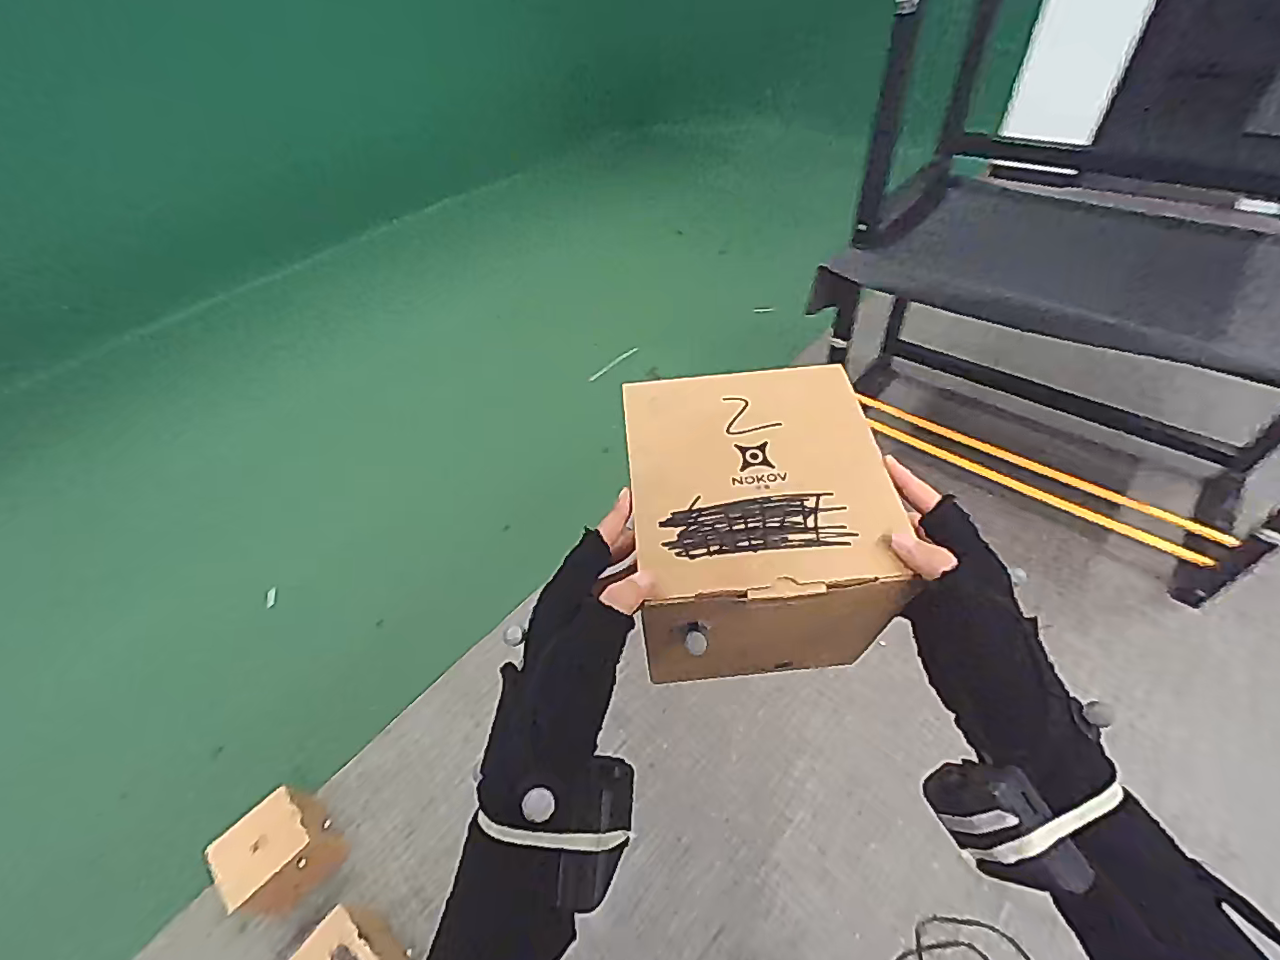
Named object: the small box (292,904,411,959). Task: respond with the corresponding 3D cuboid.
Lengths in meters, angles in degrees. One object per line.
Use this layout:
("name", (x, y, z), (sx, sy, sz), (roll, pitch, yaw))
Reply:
("small box", (-0.581, 0.992, 1.069), (0.168, 0.176, 0.179), (27, 56, 29))

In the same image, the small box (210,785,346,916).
("small box", (-0.819, 0.850, 1.236), (0.168, 0.176, 0.179), (33, 58, 31))
